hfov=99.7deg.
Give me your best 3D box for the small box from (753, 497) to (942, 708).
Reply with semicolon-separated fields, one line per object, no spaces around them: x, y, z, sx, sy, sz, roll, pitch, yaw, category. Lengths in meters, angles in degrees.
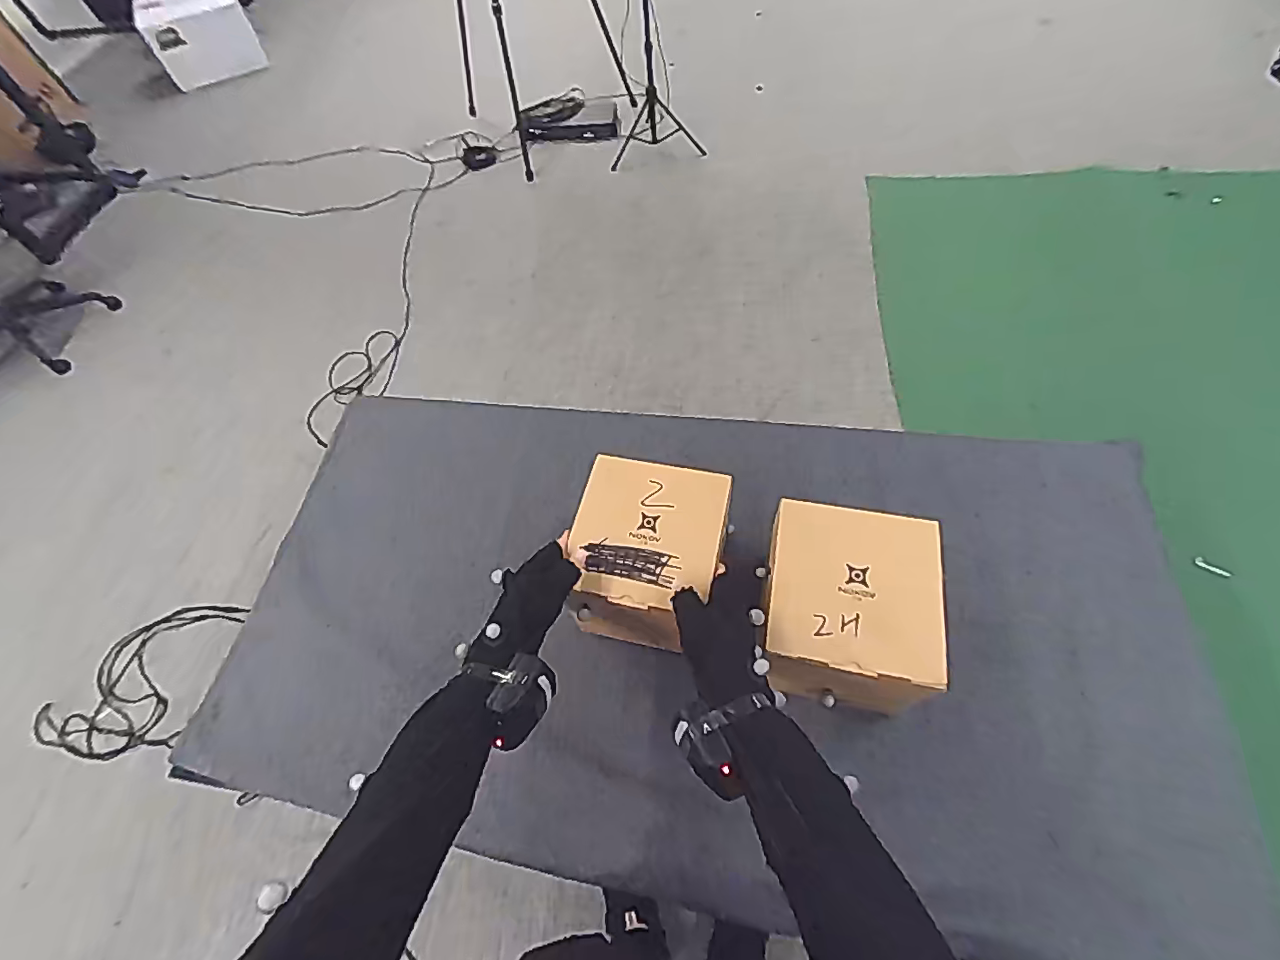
0.225;0.144;0.620;0.168;0.176;0.179;8;61;12;small box
